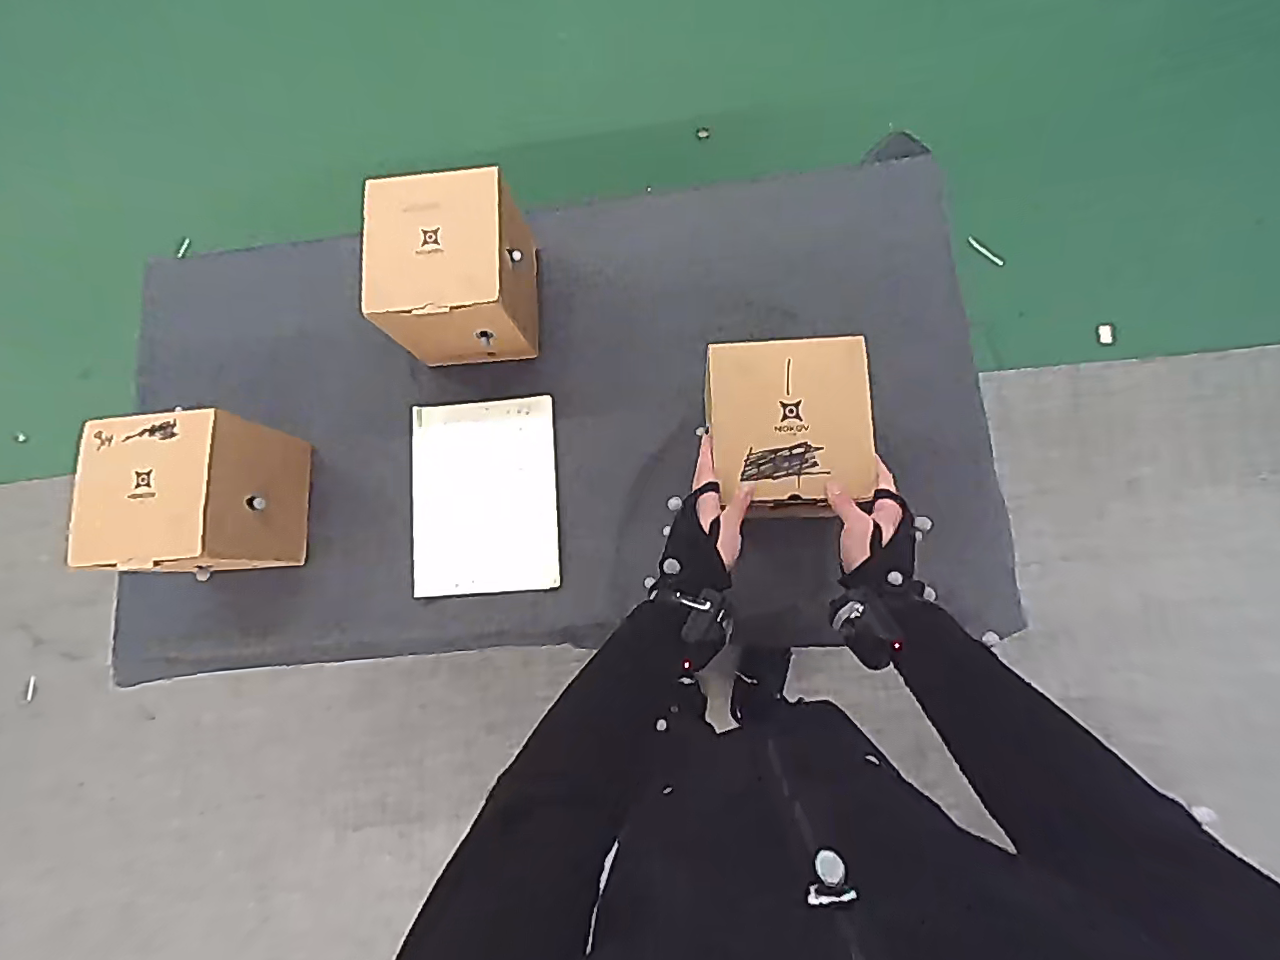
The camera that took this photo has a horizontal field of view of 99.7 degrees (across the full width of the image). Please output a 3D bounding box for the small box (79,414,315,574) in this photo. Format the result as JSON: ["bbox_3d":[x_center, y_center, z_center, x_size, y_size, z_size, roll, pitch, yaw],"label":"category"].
[{"bbox_3d":[-0.551,0.026,0.697,0.168,0.176,0.179,-4,80,4],"label":"small box"}]

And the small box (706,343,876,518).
[{"bbox_3d":[0.165,-0.046,0.642,0.168,0.176,0.179,-2,81,5],"label":"small box"}]

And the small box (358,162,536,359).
[{"bbox_3d":[-0.236,-0.266,0.698,0.168,0.176,0.179,-4,80,4],"label":"small box"}]
